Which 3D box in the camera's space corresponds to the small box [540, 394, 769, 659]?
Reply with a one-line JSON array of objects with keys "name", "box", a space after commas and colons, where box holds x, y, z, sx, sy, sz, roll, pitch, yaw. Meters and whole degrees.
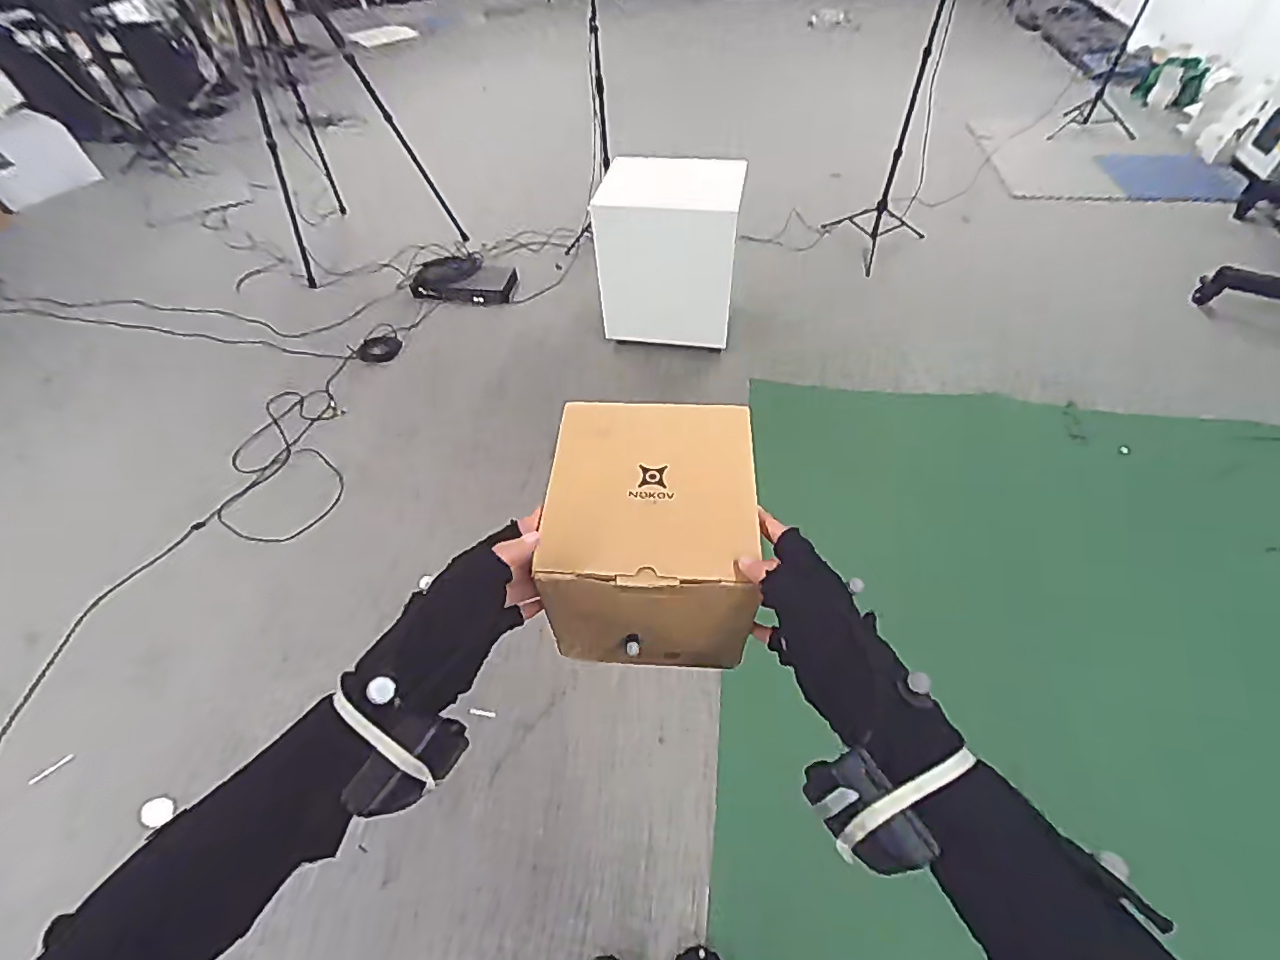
[{"name": "small box", "box": [0.015, 0.043, 0.494, 0.168, 0.176, 0.179, 2, 51, 3]}]
